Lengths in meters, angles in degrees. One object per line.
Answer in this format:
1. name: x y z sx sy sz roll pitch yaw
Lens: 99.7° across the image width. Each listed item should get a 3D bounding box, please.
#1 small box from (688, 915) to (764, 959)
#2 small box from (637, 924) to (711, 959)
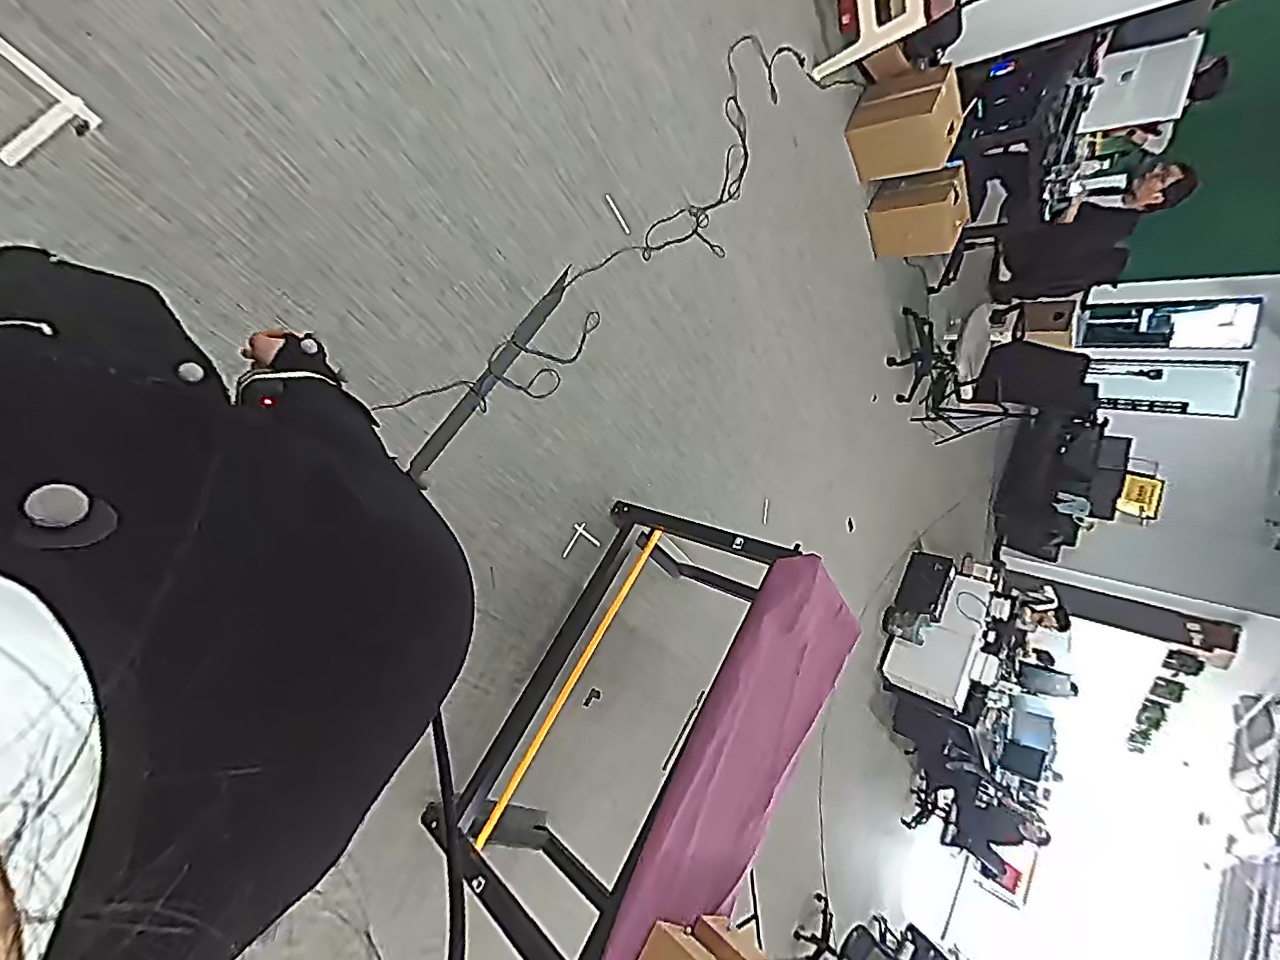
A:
1. small box: 0.204 1.292 1.411 0.168 0.176 0.179 48 66 -41
2. small box: 0.078 1.178 1.248 0.179 0.176 0.168 -54 134 -22
